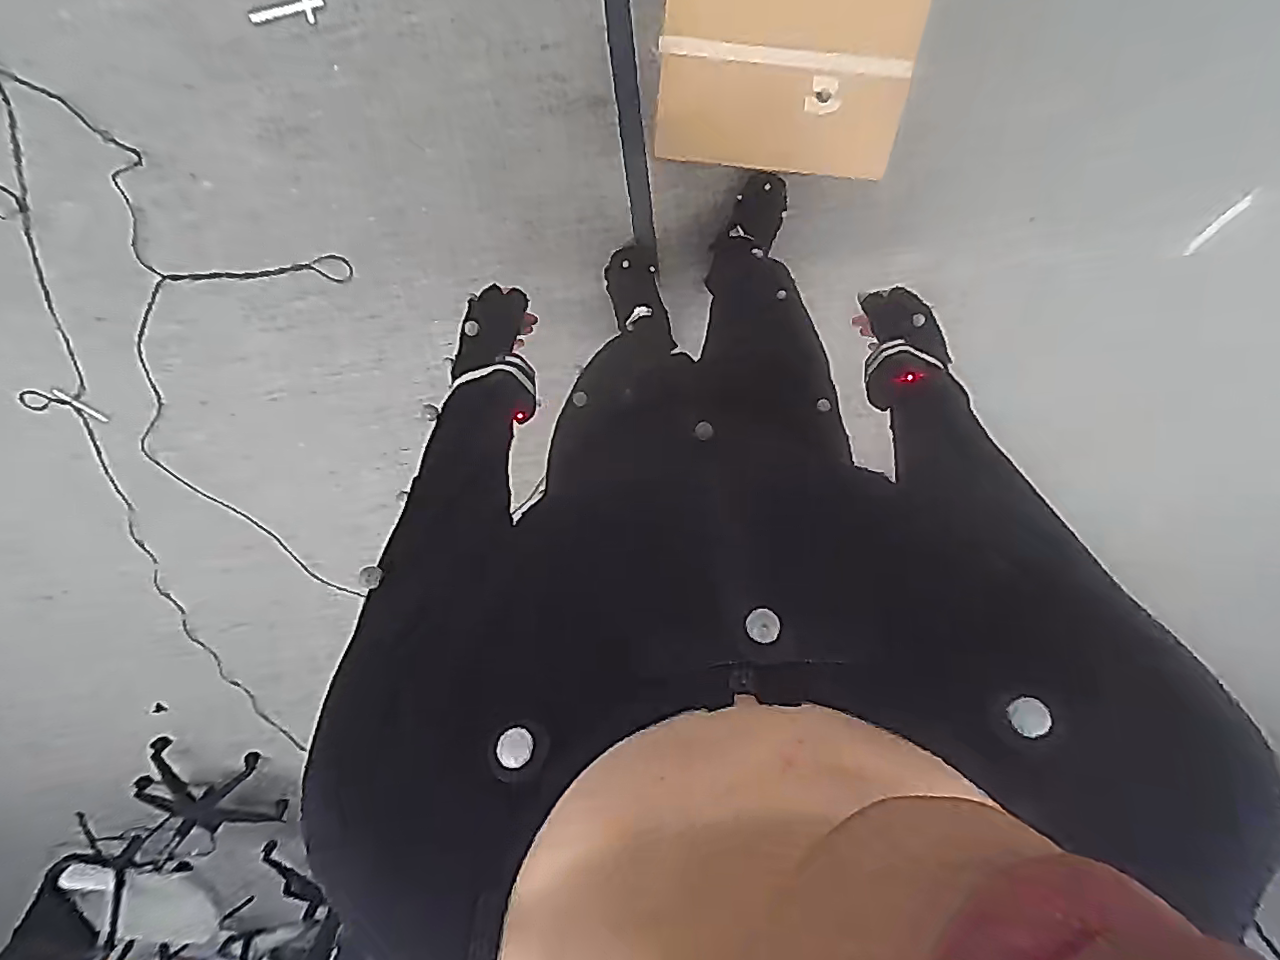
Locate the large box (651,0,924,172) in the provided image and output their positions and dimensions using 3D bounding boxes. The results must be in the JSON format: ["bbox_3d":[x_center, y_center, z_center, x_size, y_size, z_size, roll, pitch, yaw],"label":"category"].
[{"bbox_3d":[0.230,-0.757,0.989,0.408,0.320,0.320,4,121,-3],"label":"large box"}]
